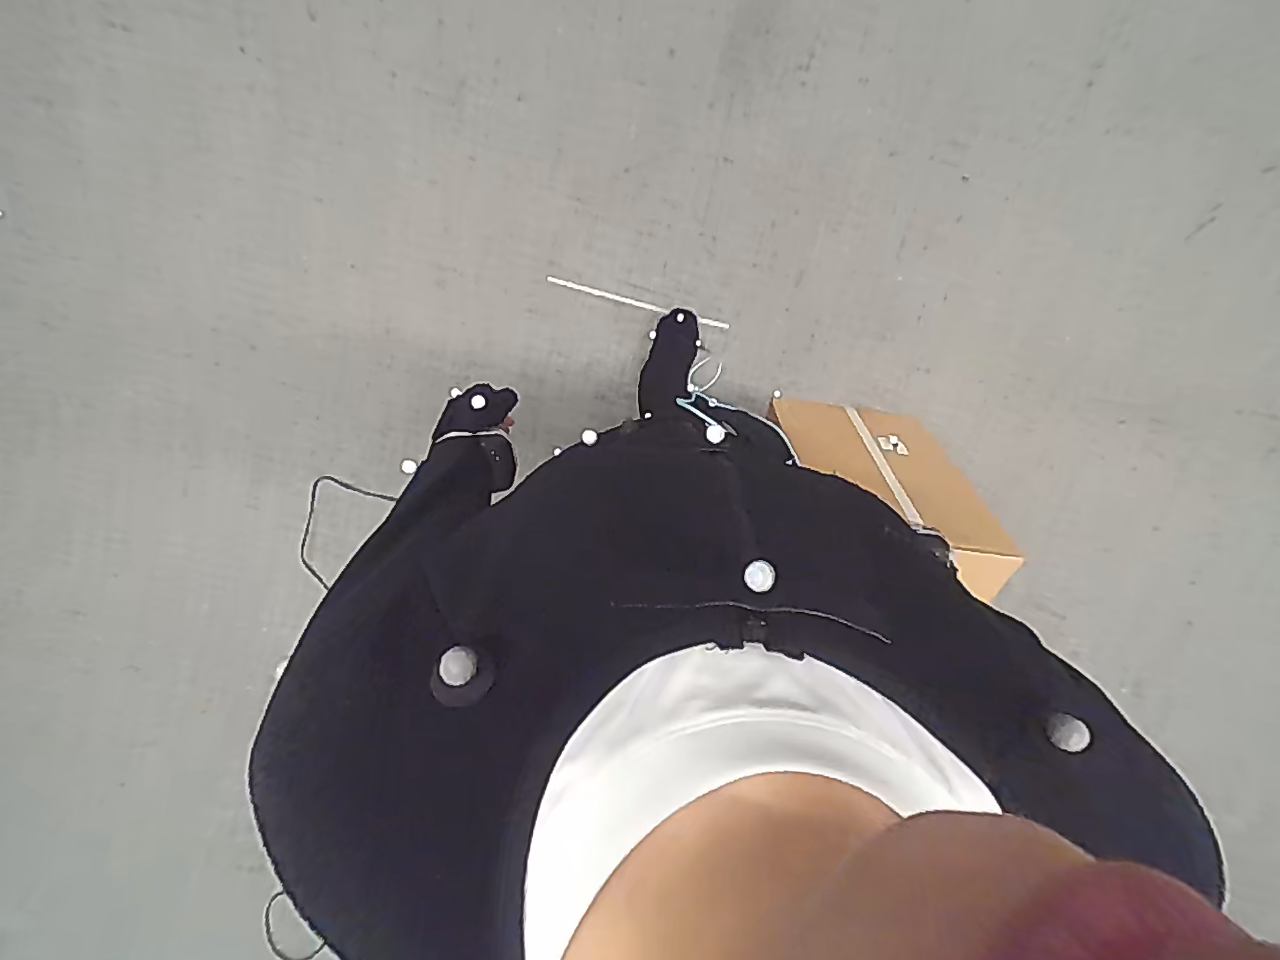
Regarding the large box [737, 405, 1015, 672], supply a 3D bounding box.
[{"bbox_3d":[0.390,0.100,1.032,0.320,0.408,0.320,8,125,-4],"label":"large box"}]
